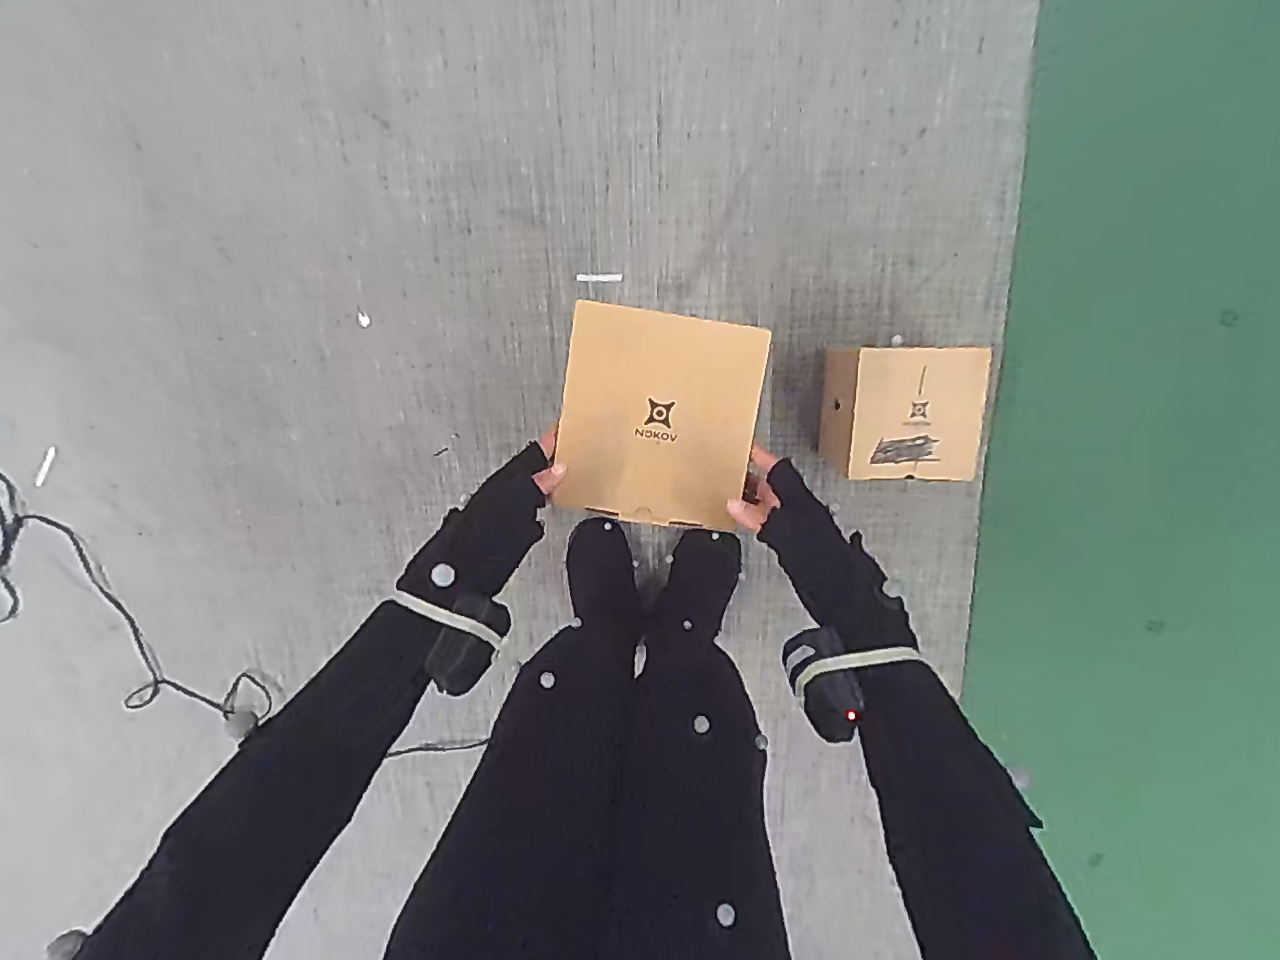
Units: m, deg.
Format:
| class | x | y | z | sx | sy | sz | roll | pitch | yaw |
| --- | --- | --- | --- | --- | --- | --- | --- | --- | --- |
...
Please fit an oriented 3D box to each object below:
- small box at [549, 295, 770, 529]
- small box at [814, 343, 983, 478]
| class | x | y | z | sx | sy | sz | roll | pitch | yaw |
| --- | --- | --- | --- | --- | --- | --- | --- | --- | --- |
| small box | 0.012 | -0.065 | 0.530 | 0.168 | 0.176 | 0.179 | 8 | 99 | -3 |
| small box | 0.359 | -0.109 | 0.788 | 0.168 | 0.176 | 0.179 | 1 | 104 | 4 |
